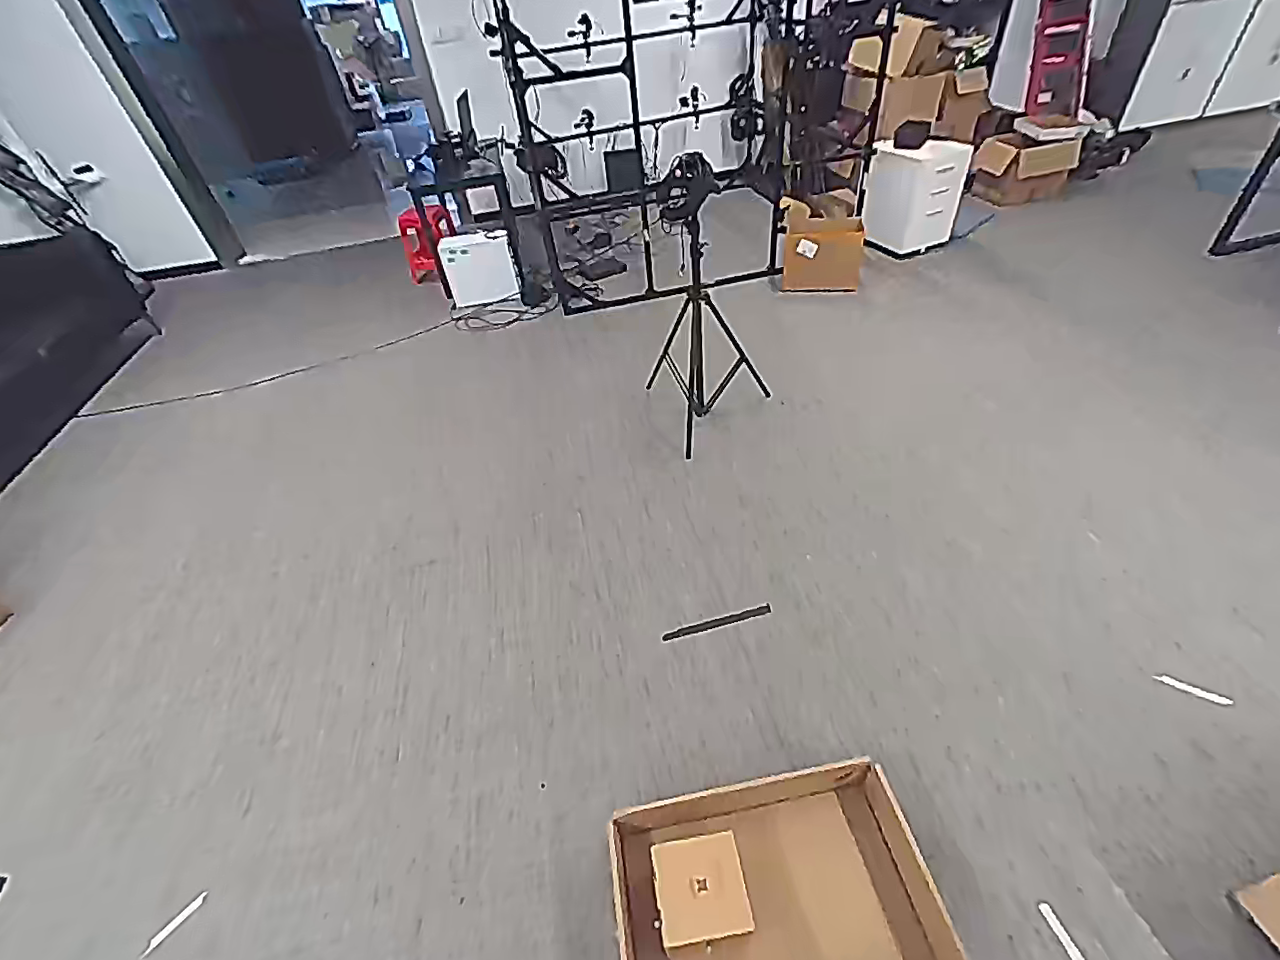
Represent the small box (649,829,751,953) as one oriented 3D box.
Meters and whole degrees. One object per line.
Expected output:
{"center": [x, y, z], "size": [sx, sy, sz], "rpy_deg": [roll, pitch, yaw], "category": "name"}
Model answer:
{"center": [0.121, 0.856, 1.124], "size": [0.179, 0.176, 0.168], "rpy_deg": [-9, 44, -4], "category": "small box"}
